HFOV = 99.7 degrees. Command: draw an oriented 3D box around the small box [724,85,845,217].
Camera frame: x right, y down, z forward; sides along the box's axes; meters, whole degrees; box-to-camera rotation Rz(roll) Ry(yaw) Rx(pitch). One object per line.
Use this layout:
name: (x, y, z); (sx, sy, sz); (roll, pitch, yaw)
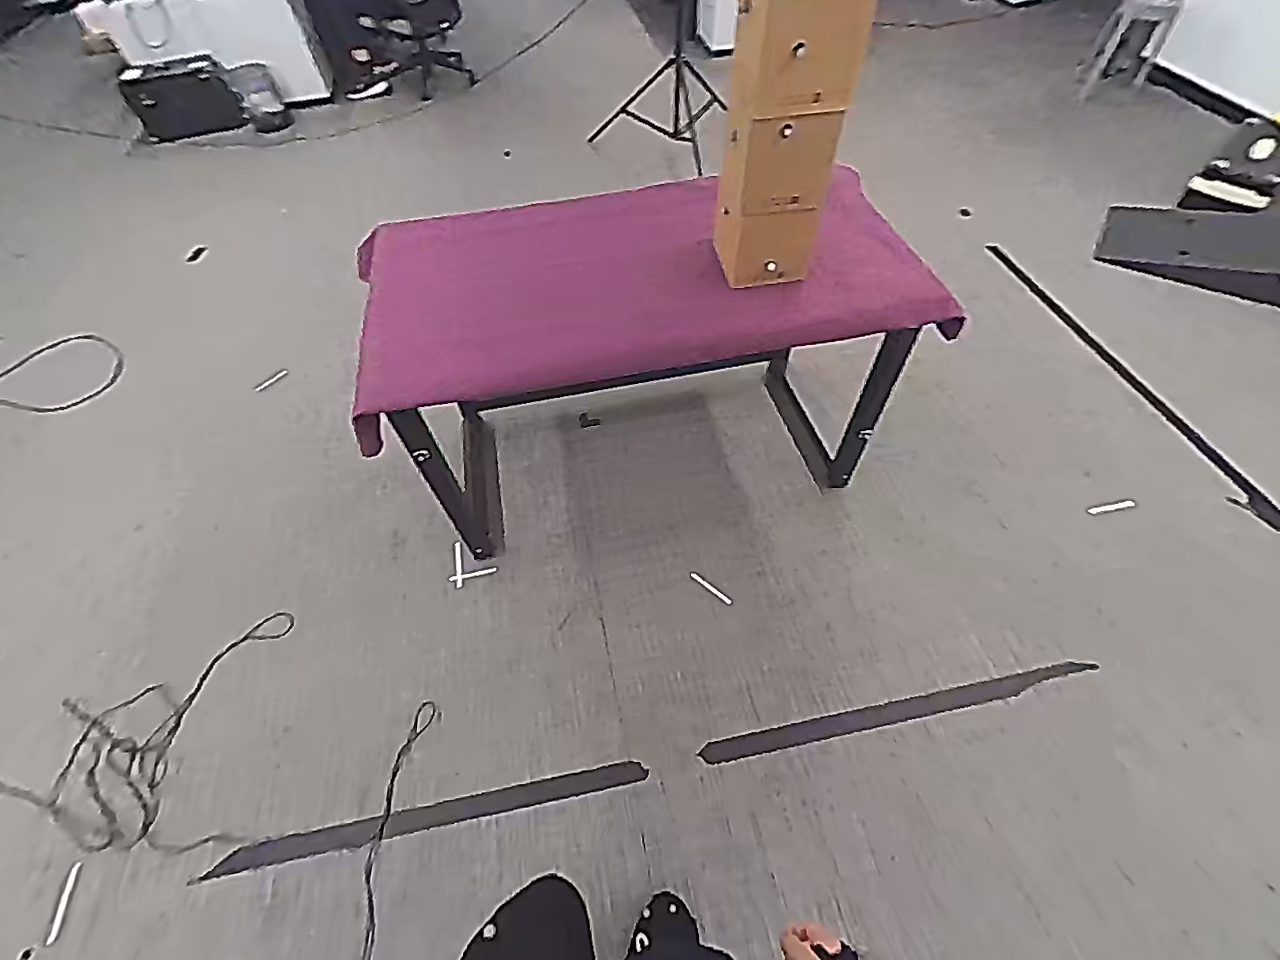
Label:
small box: (0.258, -0.622, 1.017); (0.168, 0.176, 0.179); (-7, 54, -2)

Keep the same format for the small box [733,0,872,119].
small box: (0.254, -0.711, 0.880); (0.168, 0.176, 0.179); (-8, 54, -2)

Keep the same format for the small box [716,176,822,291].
small box: (0.264, -0.532, 1.153); (0.168, 0.176, 0.179); (-9, 55, -3)
